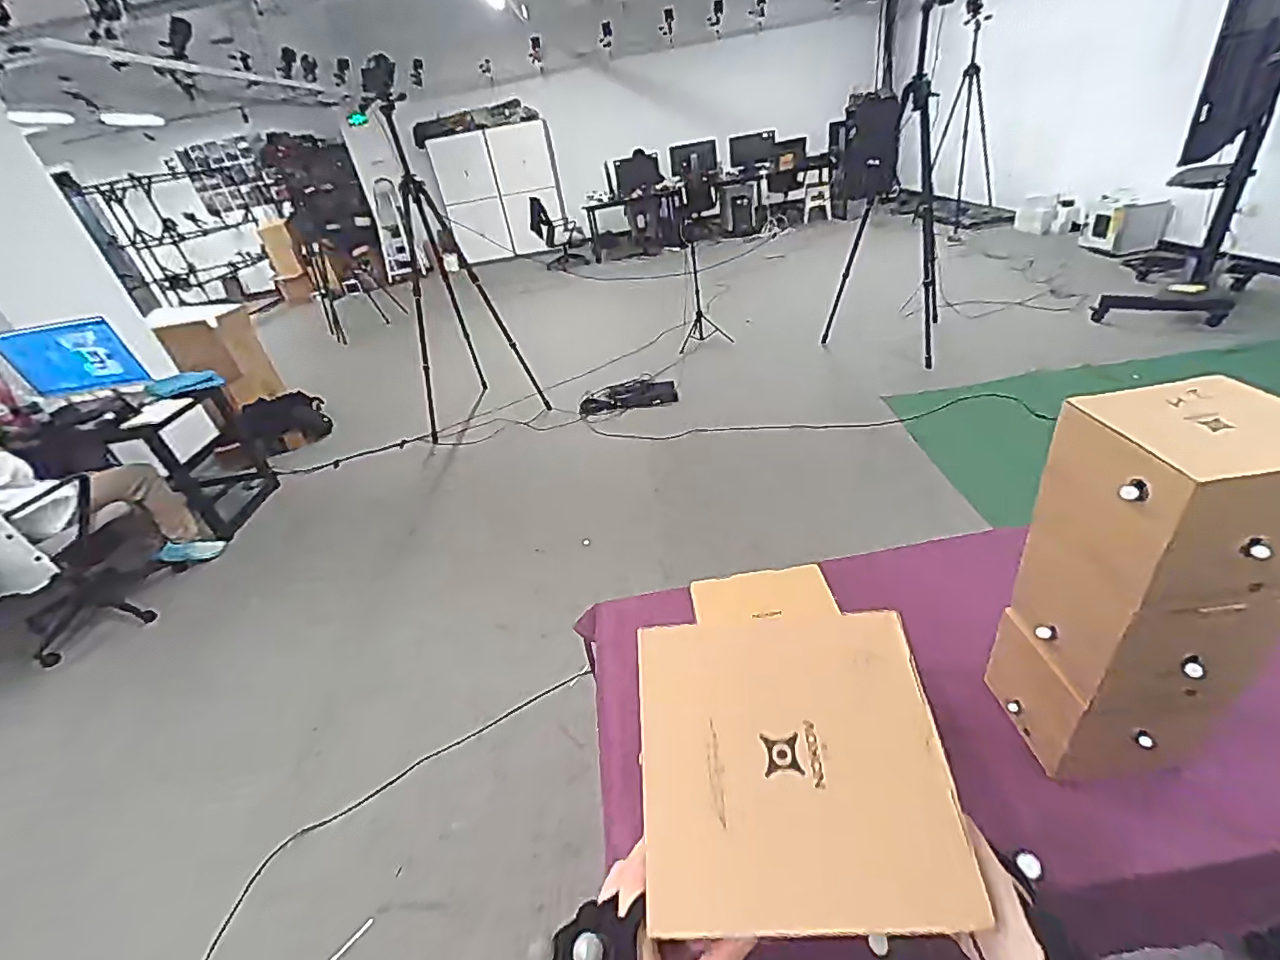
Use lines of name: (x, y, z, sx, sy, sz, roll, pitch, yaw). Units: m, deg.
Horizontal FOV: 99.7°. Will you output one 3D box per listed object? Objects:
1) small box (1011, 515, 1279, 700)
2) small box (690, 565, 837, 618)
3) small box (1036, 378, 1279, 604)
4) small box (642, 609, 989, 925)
small box: (0.597, 0.150, 0.662, 0.168, 0.176, 0.179, -7, 34, 6)
small box: (0.161, 0.234, 0.665, 0.168, 0.176, 0.179, -9, 31, 3)
small box: (0.568, 0.014, 0.572, 0.168, 0.176, 0.179, -8, 32, 5)
small box: (0.098, 0.204, 0.385, 0.179, 0.176, 0.168, -6, 54, 6)
